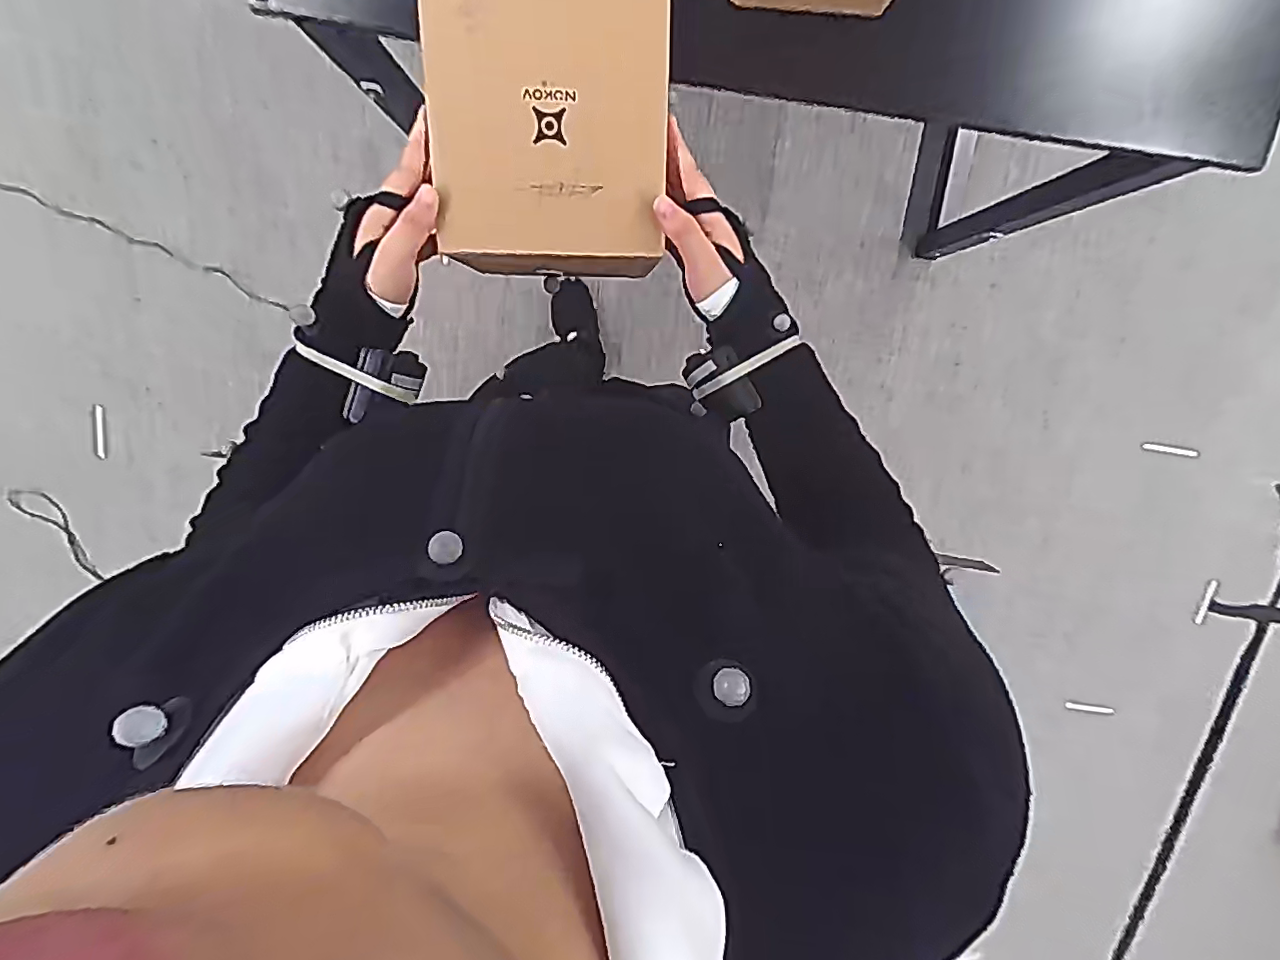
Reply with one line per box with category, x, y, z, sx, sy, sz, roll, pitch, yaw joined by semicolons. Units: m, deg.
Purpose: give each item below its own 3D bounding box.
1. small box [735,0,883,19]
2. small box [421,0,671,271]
small box;0.192;-0.596;0.527;0.179;0.176;0.168;3;102;-1
small box;-0.068;-0.278;0.446;0.168;0.176;0.179;0;105;-4
